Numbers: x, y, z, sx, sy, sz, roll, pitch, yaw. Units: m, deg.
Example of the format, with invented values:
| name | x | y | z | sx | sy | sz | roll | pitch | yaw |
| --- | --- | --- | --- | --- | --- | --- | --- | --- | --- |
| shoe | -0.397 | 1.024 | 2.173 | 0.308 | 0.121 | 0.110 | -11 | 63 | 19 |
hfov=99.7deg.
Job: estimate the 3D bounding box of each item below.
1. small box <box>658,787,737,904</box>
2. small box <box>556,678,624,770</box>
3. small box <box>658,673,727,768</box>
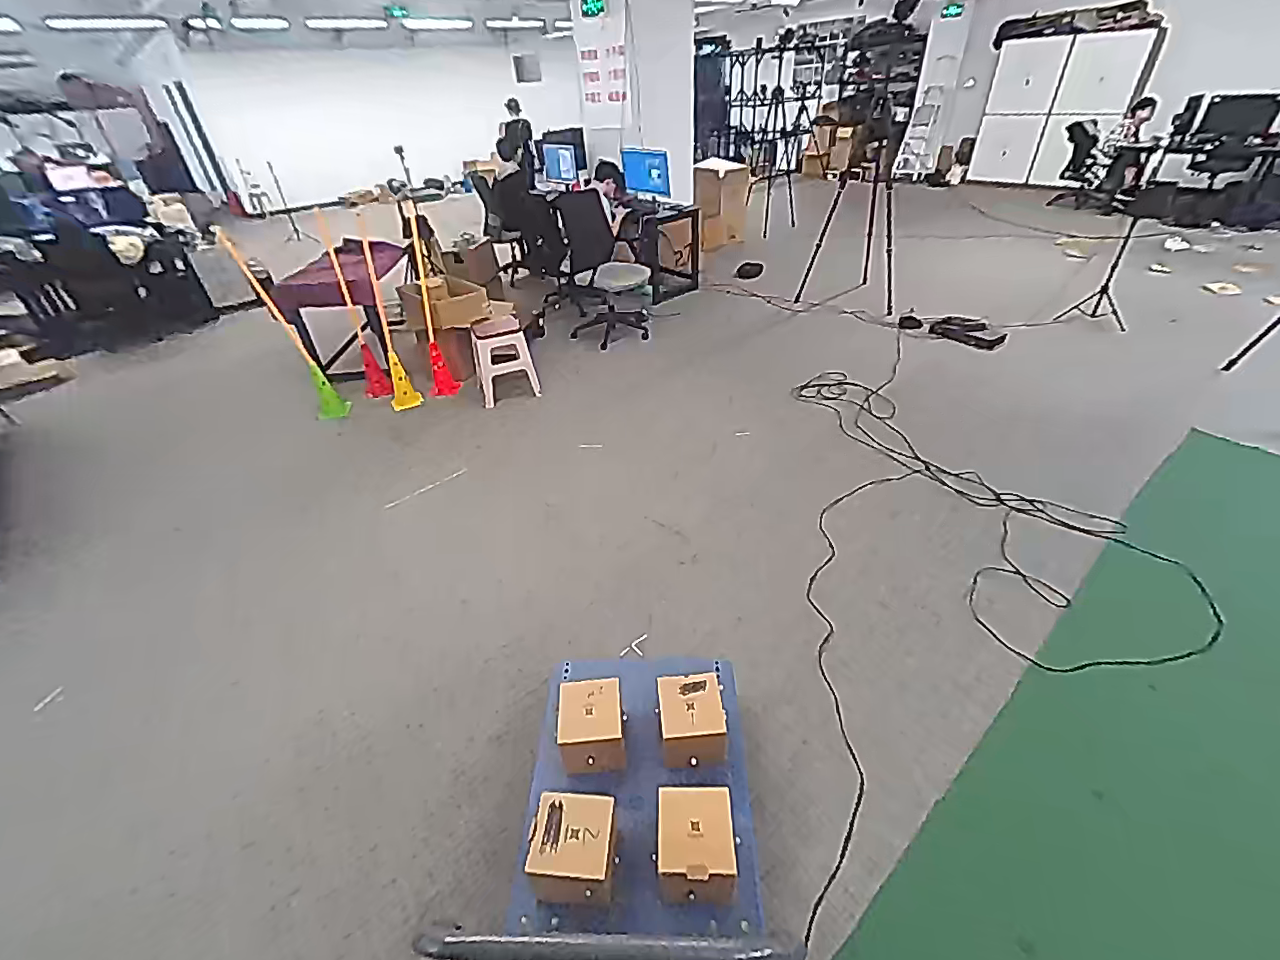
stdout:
| name | x | y | z | sx | sy | sz | roll | pitch | yaw |
| --- | --- | --- | --- | --- | --- | --- | --- | --- | --- |
| small box | 0.125 | 0.834 | 1.238 | 0.168 | 0.176 | 0.179 | -1 | 37 | 3 |
| small box | -0.132 | 0.670 | 1.476 | 0.168 | 0.176 | 0.179 | -4 | 36 | -2 |
| small box | 0.137 | 0.655 | 1.474 | 0.168 | 0.176 | 0.179 | -5 | 37 | -1 |
